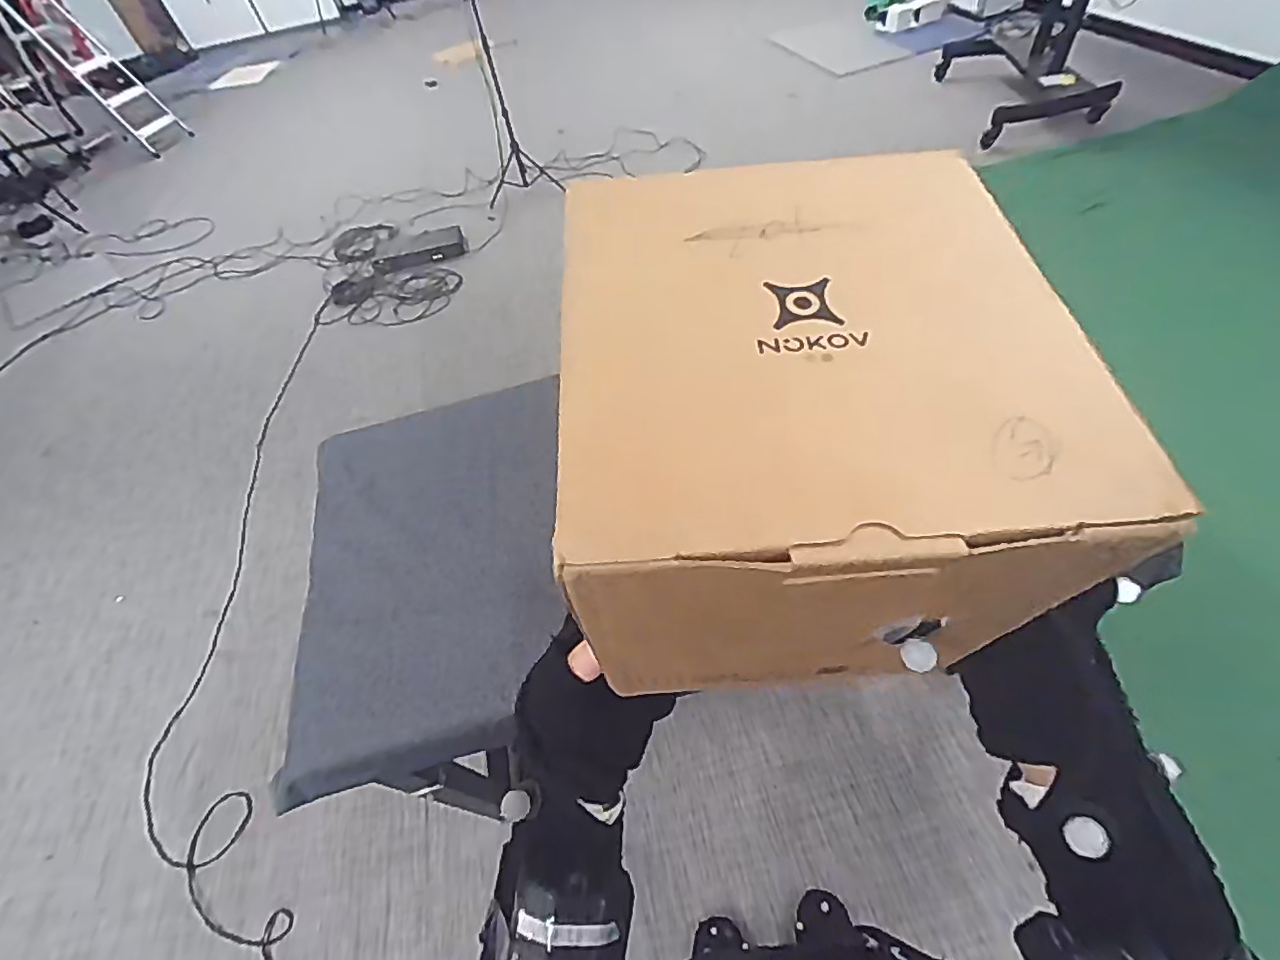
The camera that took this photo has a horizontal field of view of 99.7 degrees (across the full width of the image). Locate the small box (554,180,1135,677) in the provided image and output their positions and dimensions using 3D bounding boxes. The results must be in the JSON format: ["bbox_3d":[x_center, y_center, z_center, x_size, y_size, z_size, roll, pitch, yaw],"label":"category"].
[{"bbox_3d":[0.057,-0.011,0.262,0.168,0.176,0.179,-4,57,0],"label":"small box"}]
